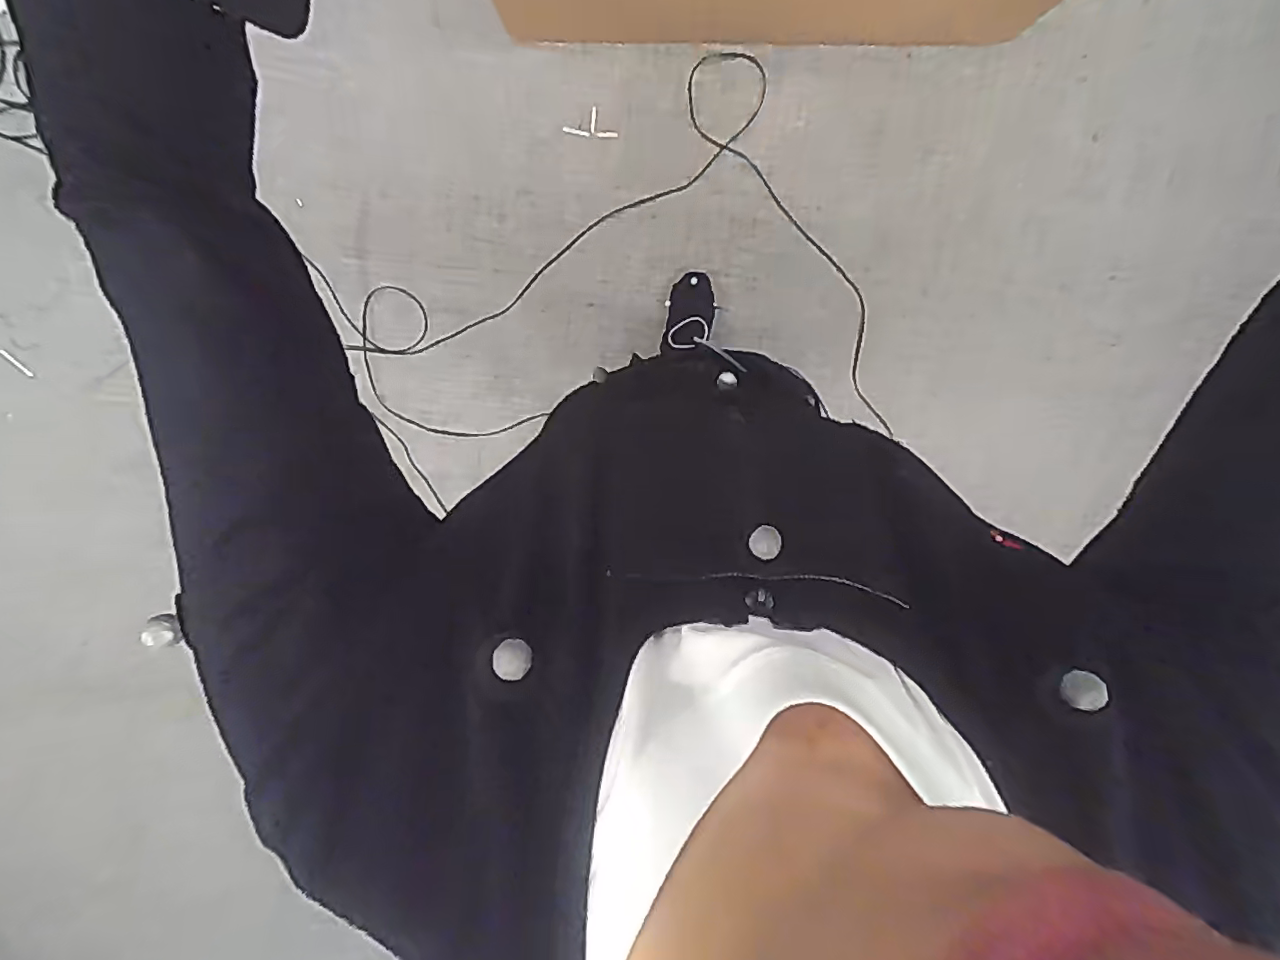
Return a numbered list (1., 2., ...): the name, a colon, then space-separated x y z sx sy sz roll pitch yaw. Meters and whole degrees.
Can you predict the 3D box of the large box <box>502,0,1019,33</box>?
1. large box: 0.092 -0.472 0.256 0.408 0.320 0.320 0 106 -1
